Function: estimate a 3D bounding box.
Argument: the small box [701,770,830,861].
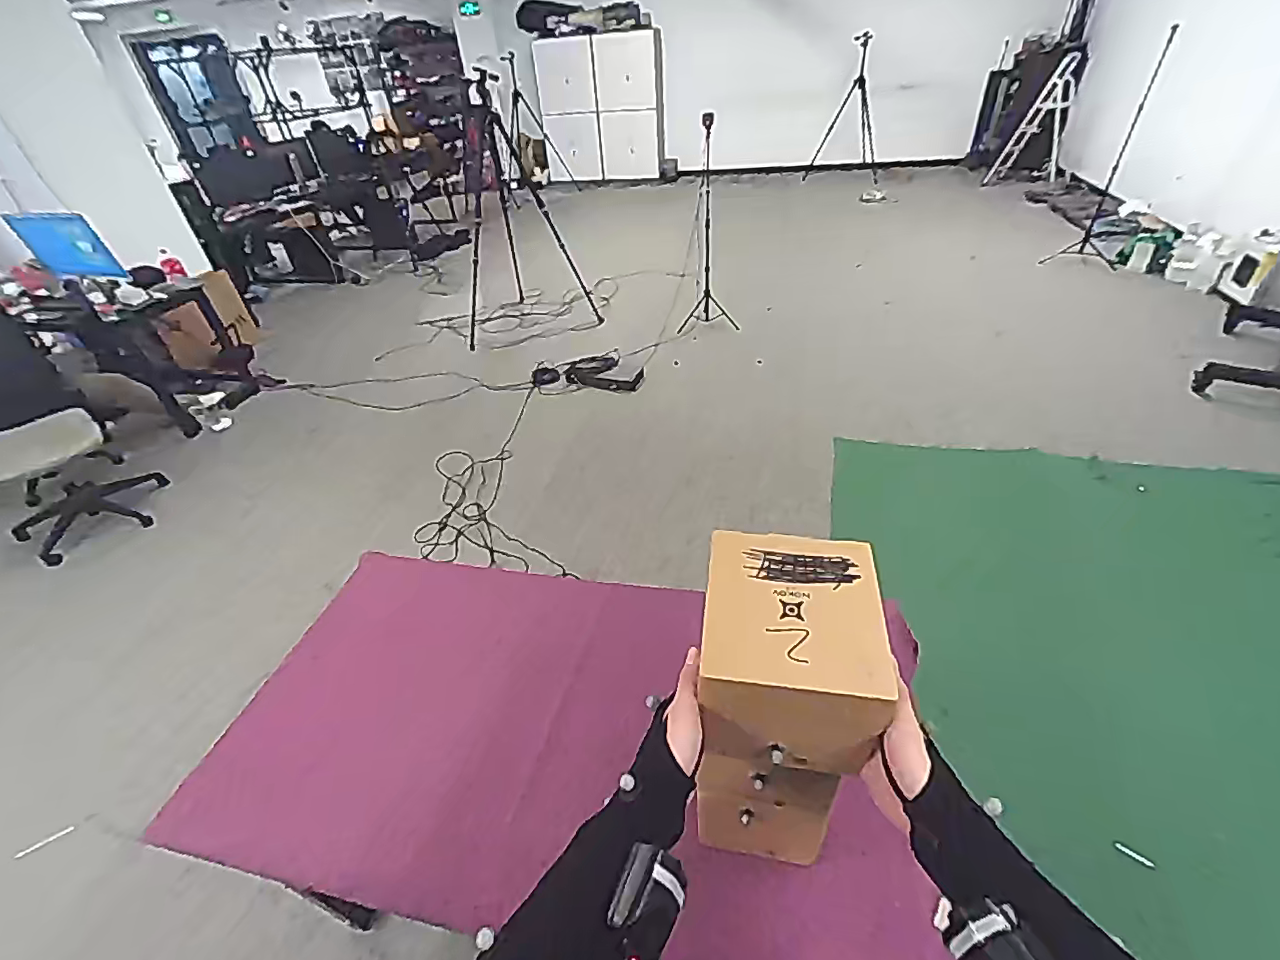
[{"bbox_3d":[0.182,0.422,0.801,0.168,0.176,0.179,3,38,13],"label":"small box"}]

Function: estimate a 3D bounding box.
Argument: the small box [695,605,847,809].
[{"bbox_3d":[0.168,0.292,0.700,0.168,0.176,0.179,5,39,13],"label":"small box"}]
